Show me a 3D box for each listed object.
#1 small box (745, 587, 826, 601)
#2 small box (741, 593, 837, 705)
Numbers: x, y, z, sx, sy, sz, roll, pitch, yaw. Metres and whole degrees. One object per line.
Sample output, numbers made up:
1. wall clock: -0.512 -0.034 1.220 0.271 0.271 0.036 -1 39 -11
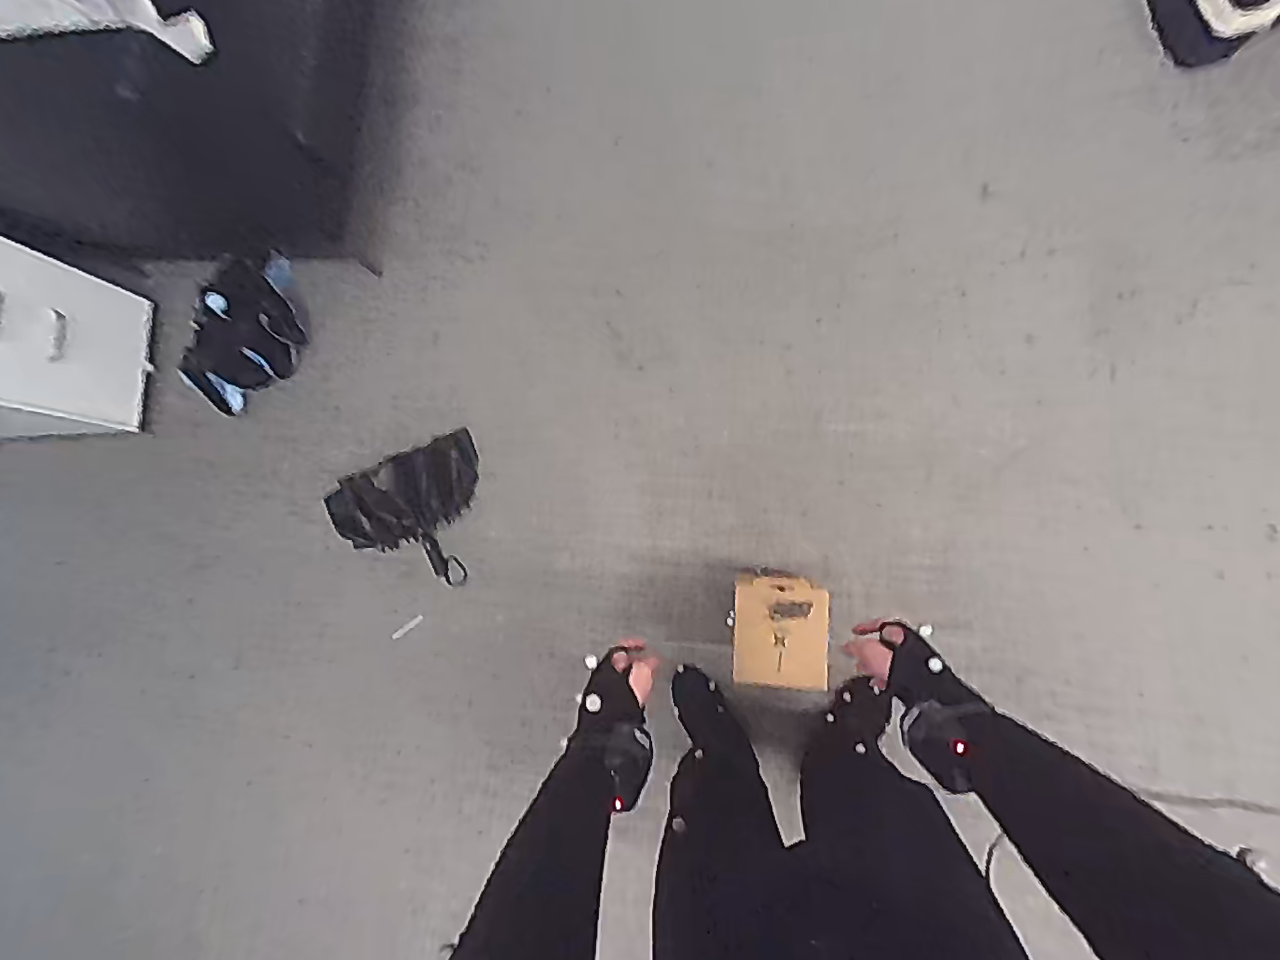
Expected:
1. small box: 0.316 0.332 1.199 0.168 0.176 0.179 0 83 11
2. small box: 0.280 0.313 1.039 0.168 0.176 0.179 1 83 11
